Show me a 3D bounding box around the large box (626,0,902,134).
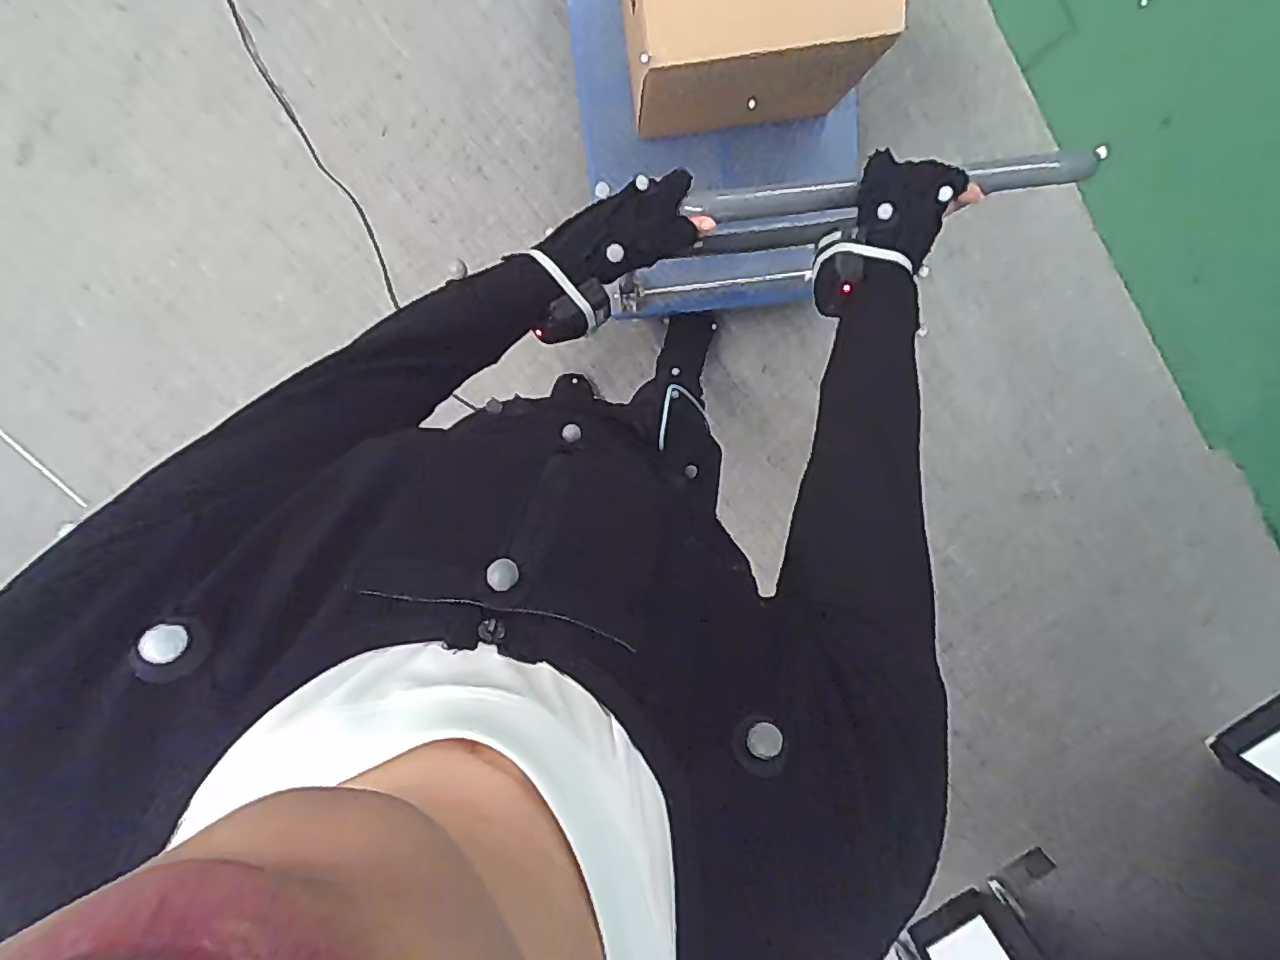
[{"bbox_3d":[0.186,-0.853,0.946,0.408,0.320,0.320,-9,105,0],"label":"large box"}]
